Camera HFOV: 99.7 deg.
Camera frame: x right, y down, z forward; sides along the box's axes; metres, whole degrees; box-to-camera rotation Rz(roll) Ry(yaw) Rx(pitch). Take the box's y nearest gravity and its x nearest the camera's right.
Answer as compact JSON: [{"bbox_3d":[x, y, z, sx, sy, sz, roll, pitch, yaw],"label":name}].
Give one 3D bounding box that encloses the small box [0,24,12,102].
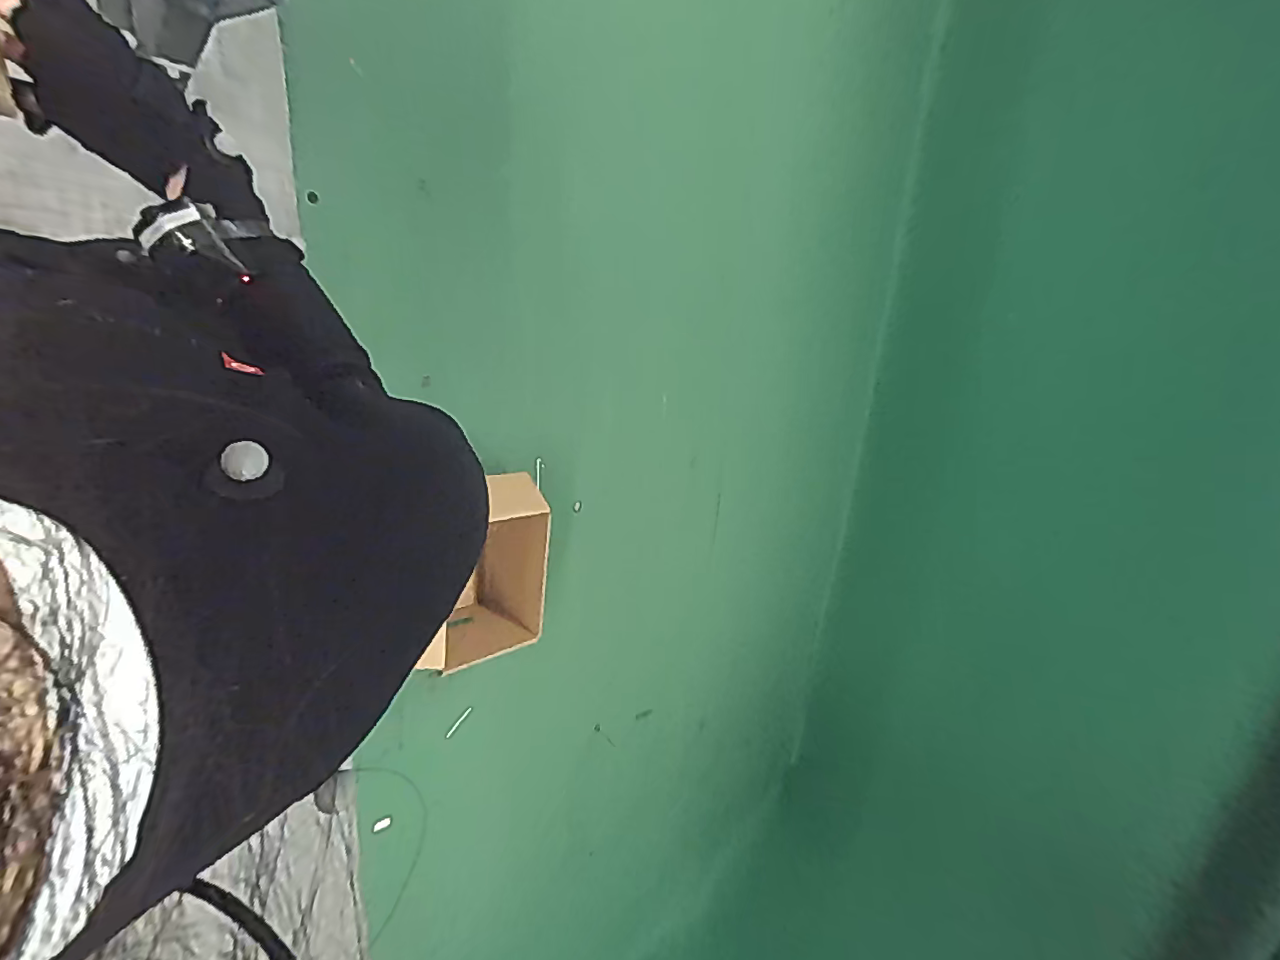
[{"bbox_3d":[-0.421,-0.295,0.234,0.168,0.176,0.179,-11,114,-42],"label":"small box"}]
